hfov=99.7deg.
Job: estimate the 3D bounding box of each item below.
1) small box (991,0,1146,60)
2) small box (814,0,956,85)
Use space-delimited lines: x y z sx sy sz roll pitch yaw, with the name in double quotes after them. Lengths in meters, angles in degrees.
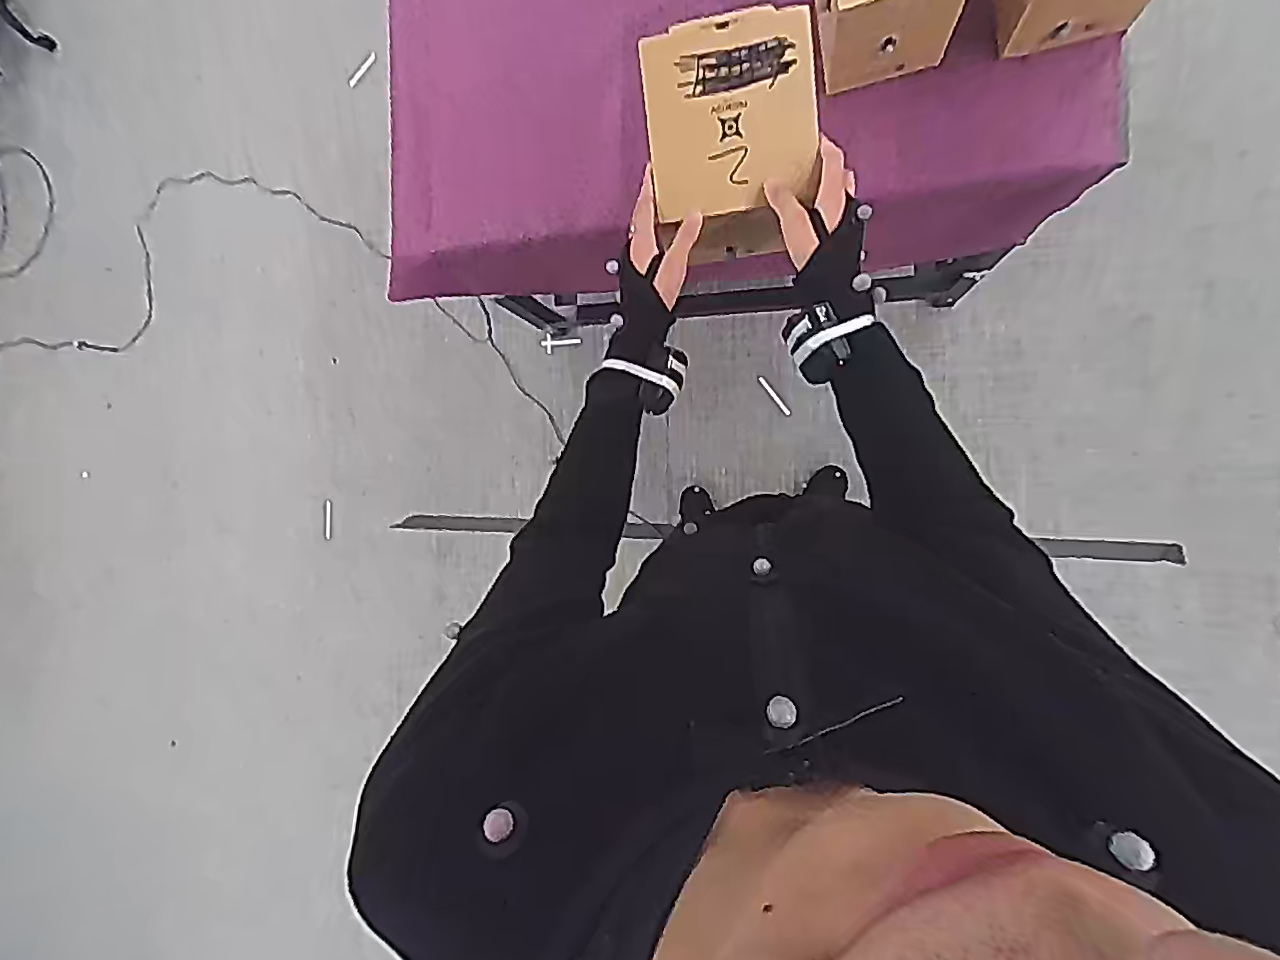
0.574 -0.708 0.702 0.168 0.176 0.179 -5 89 16 "small box"
0.342 -0.702 0.760 0.168 0.176 0.179 -7 89 14 "small box"
